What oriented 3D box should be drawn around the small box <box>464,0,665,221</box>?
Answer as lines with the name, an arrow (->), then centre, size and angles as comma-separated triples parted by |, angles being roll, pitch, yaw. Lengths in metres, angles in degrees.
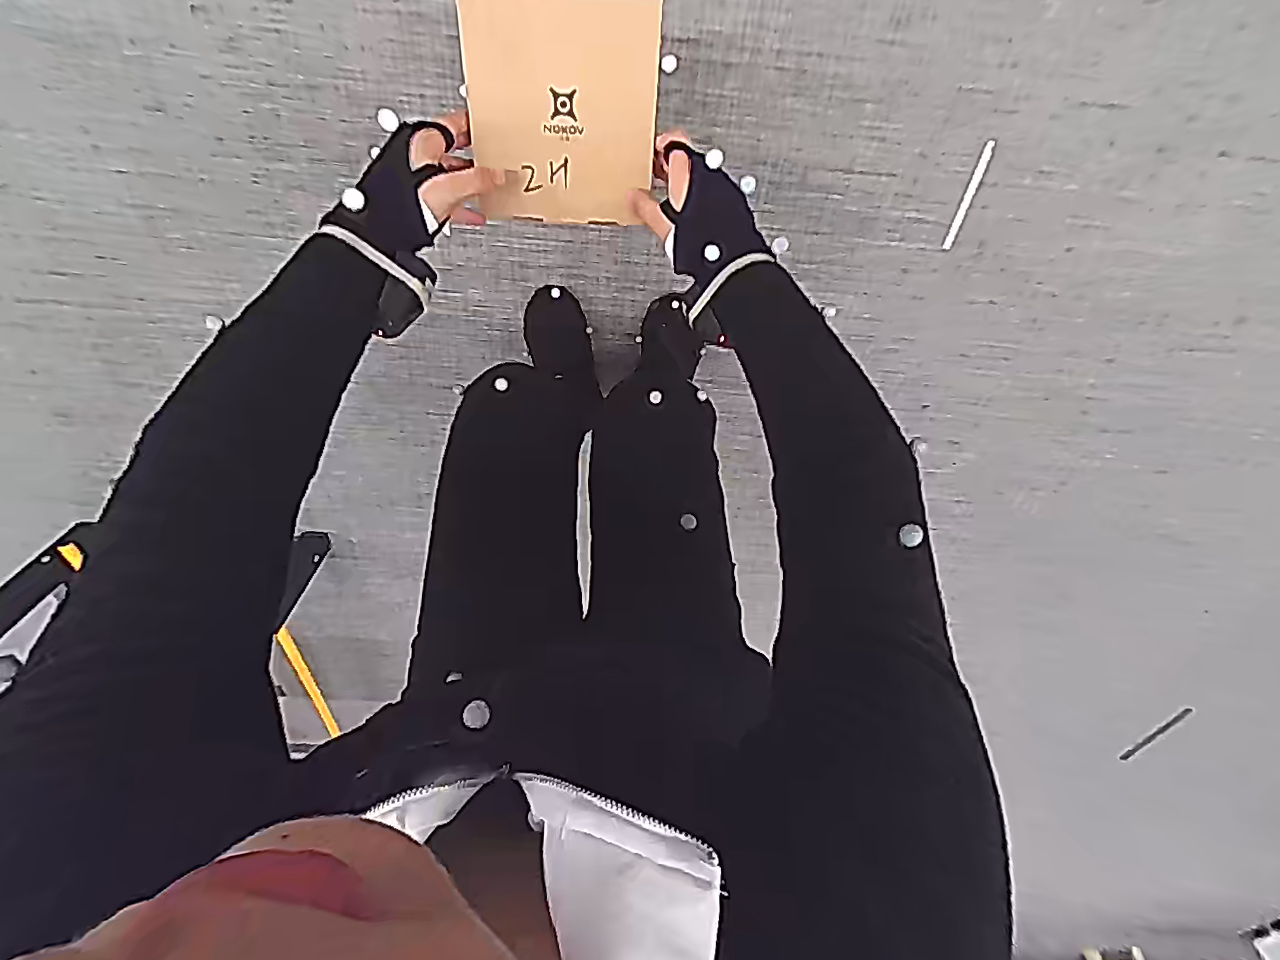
small box -> -0.069, -0.380, 0.545 | 0.168, 0.176, 0.179 | 3, 128, -3
